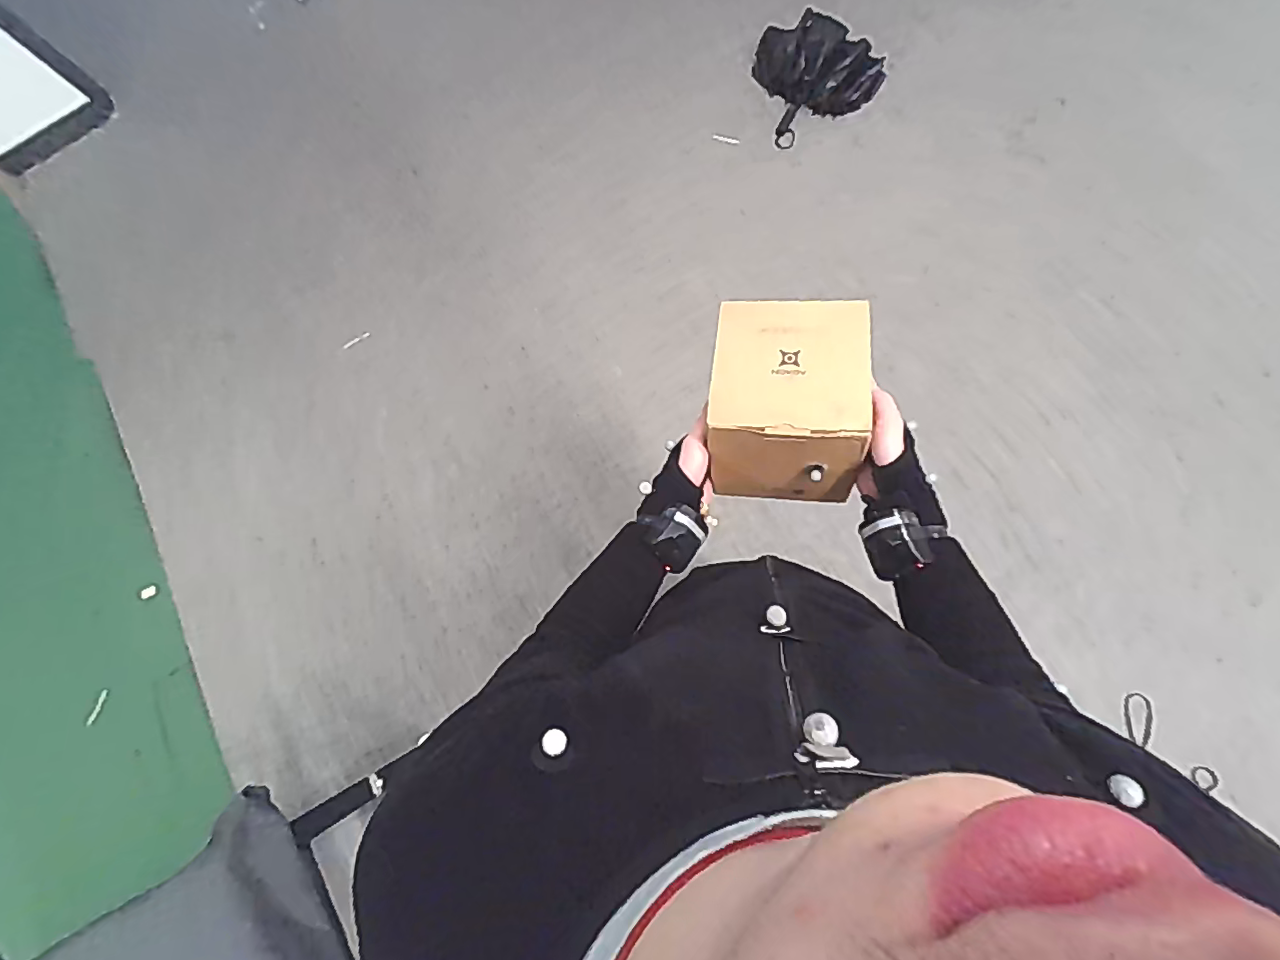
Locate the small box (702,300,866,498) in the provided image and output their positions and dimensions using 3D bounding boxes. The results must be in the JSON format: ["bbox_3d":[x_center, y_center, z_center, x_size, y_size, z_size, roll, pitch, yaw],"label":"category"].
[{"bbox_3d":[0.169,-0.091,0.652,0.168,0.176,0.179,5,63,11],"label":"small box"}]
